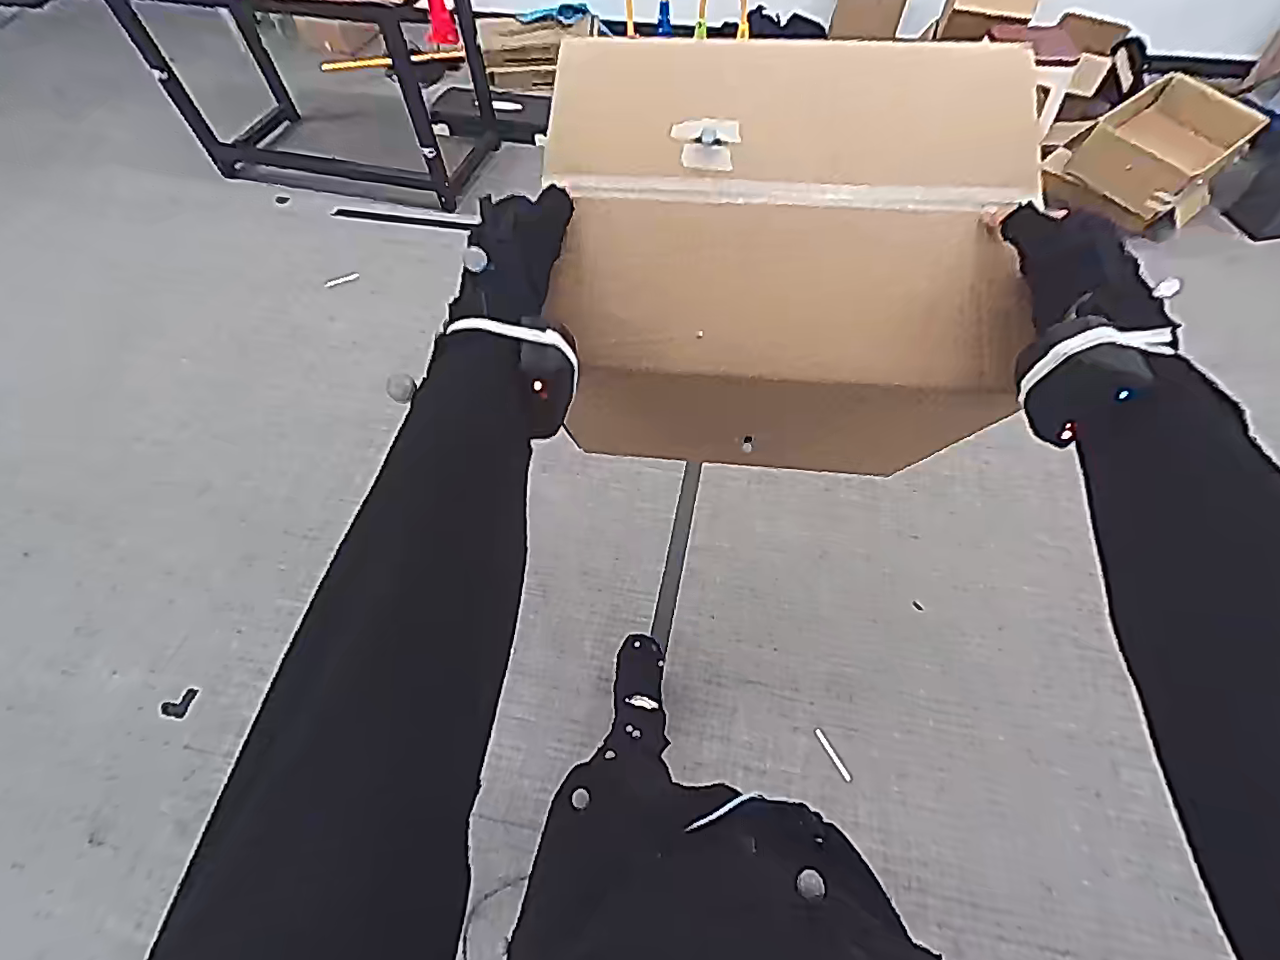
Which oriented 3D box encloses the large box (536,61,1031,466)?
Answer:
[{"bbox_3d":[0.132,-0.202,0.609,0.408,0.320,0.320,4,79,5],"label":"large box"}]
